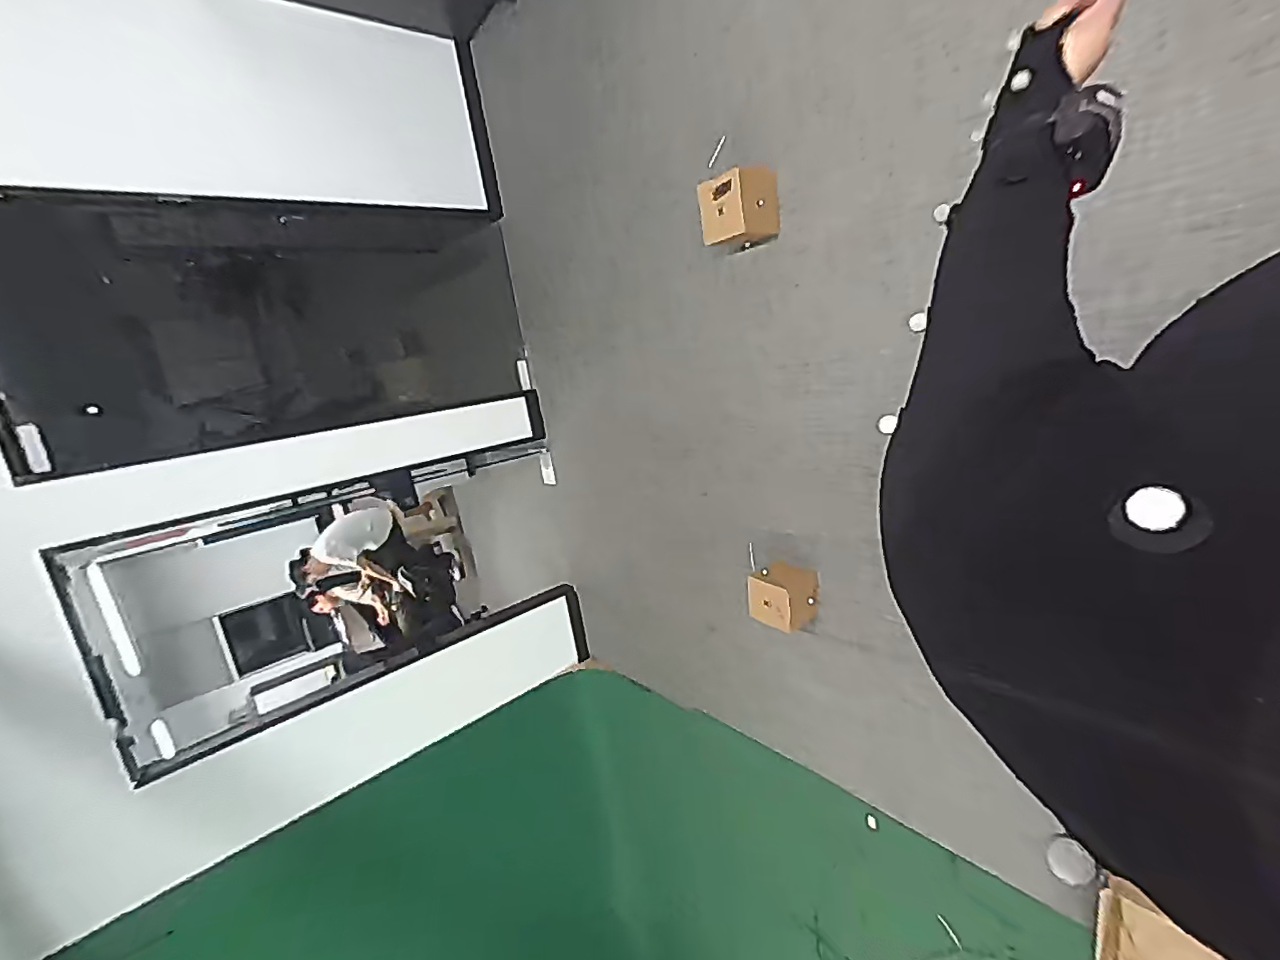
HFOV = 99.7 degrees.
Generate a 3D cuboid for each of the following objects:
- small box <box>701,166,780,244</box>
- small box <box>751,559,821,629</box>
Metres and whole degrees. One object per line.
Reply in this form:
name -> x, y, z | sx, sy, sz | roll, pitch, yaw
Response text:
small box -> 0.311, -0.834, 1.658 | 0.168, 0.176, 0.179 | 7, 111, 50
small box -> 0.514, 0.395, 1.909 | 0.179, 0.176, 0.168 | 14, 116, 49
